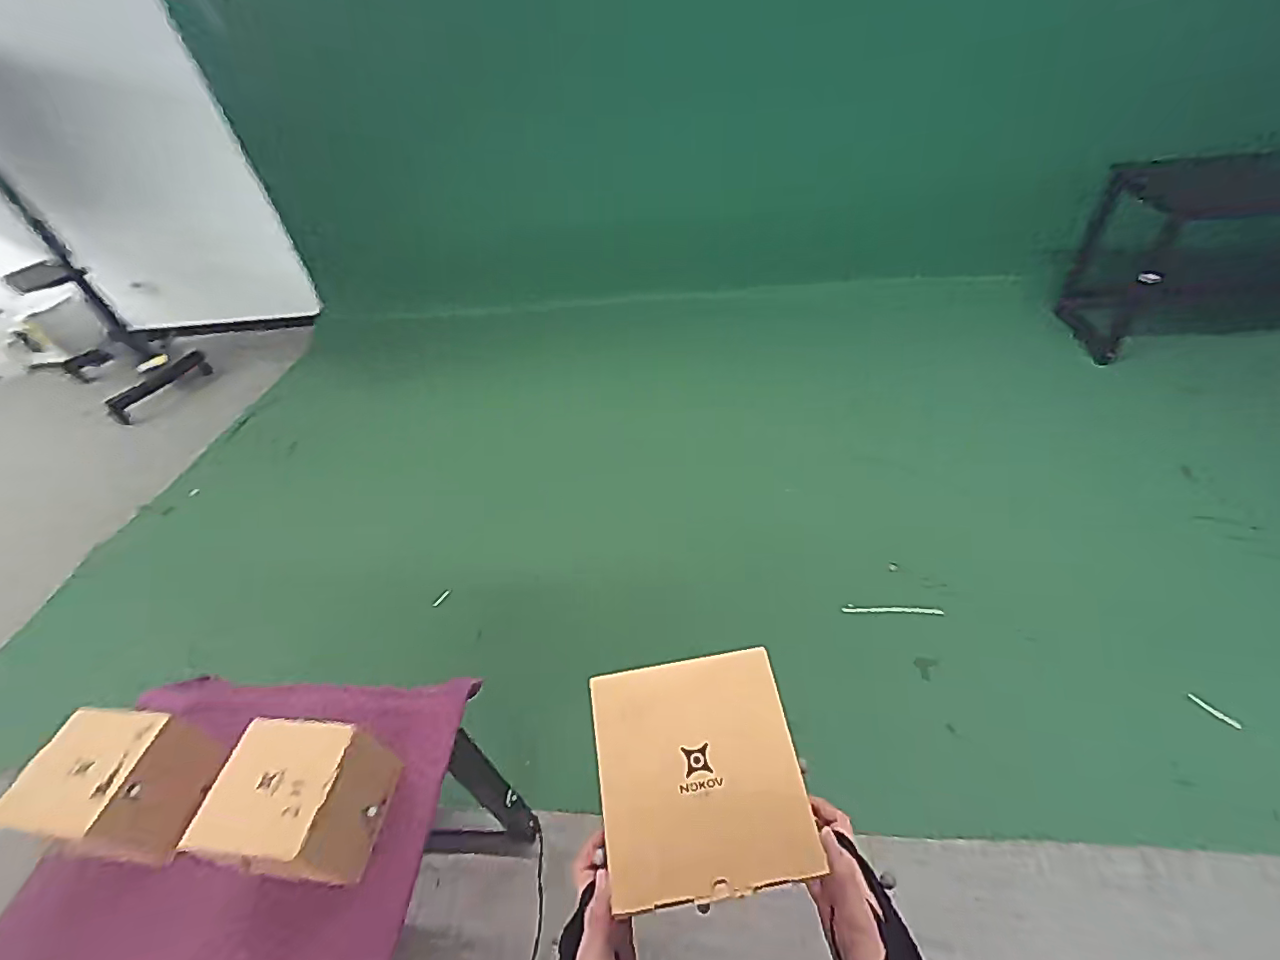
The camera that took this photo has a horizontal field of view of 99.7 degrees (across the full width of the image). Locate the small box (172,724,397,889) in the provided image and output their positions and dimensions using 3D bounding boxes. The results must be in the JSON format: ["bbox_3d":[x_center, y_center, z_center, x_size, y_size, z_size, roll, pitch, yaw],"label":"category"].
[{"bbox_3d":[-0.496,0.475,0.786,0.179,0.176,0.168,-1,45,9],"label":"small box"}]

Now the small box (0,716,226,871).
[{"bbox_3d":[-0.810,0.485,0.836,0.179,0.176,0.168,-1,44,9],"label":"small box"}]

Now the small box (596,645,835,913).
[{"bbox_3d":[0.055,0.276,0.503,0.168,0.176,0.179,-9,55,-2],"label":"small box"}]
